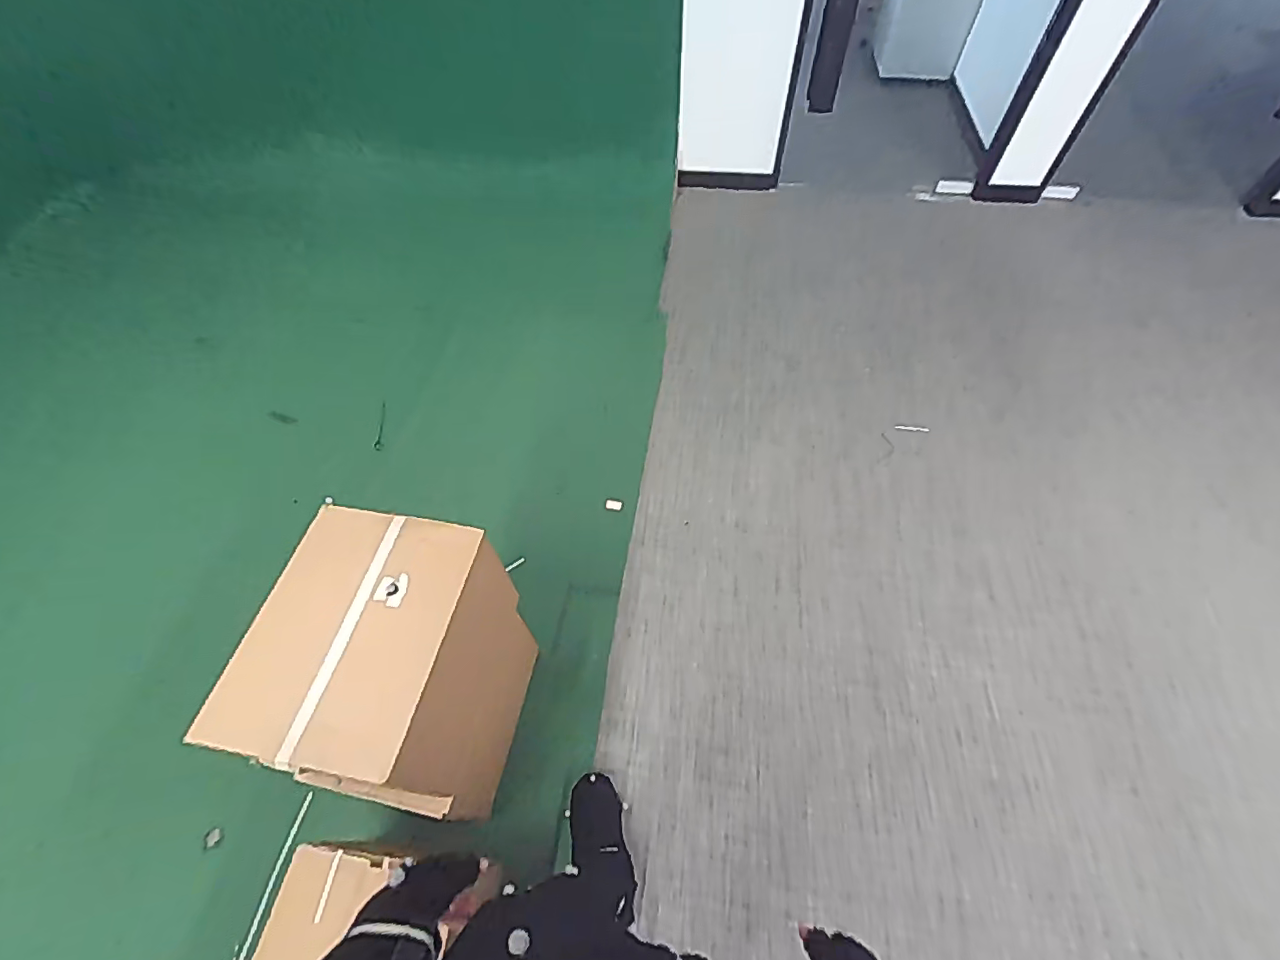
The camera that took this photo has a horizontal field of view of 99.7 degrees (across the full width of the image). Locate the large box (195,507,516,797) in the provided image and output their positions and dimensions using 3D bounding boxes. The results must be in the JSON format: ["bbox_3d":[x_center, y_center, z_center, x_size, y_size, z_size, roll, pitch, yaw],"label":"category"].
[{"bbox_3d":[-0.456,0.314,0.985,0.320,0.320,0.408,9,56,6],"label":"large box"}]
